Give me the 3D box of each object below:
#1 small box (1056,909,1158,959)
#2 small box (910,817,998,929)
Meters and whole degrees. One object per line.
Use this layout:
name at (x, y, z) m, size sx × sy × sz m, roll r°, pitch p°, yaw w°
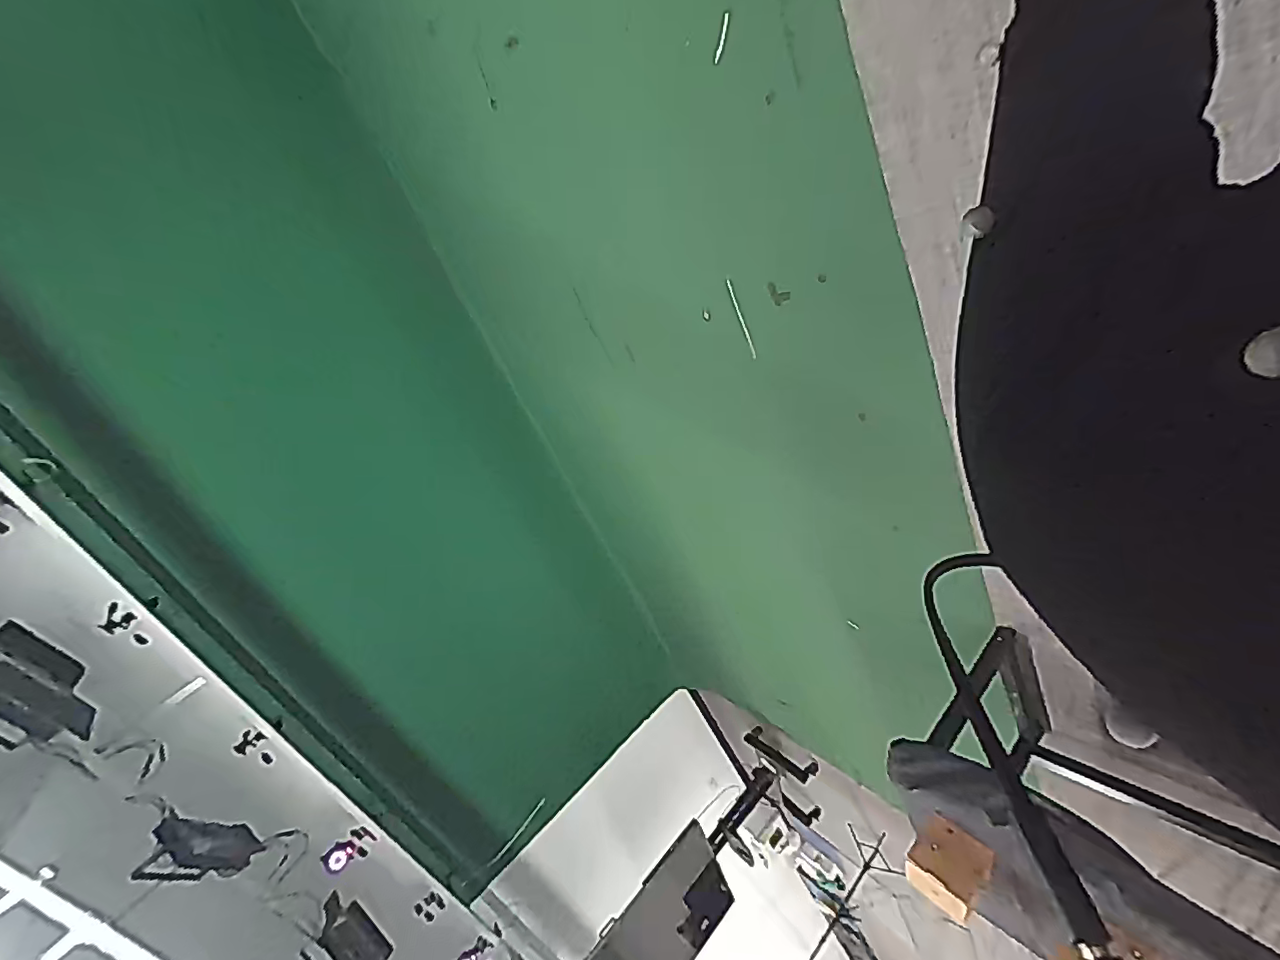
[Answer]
small box at (1.093, 1.161, 1.256) m, size 0.168 × 0.176 × 0.179 m, roll 10°, pitch 135°, yaw 55°
small box at (0.887, 1.104, 1.530) m, size 0.168 × 0.176 × 0.179 m, roll 23°, pitch 145°, yaw 47°
